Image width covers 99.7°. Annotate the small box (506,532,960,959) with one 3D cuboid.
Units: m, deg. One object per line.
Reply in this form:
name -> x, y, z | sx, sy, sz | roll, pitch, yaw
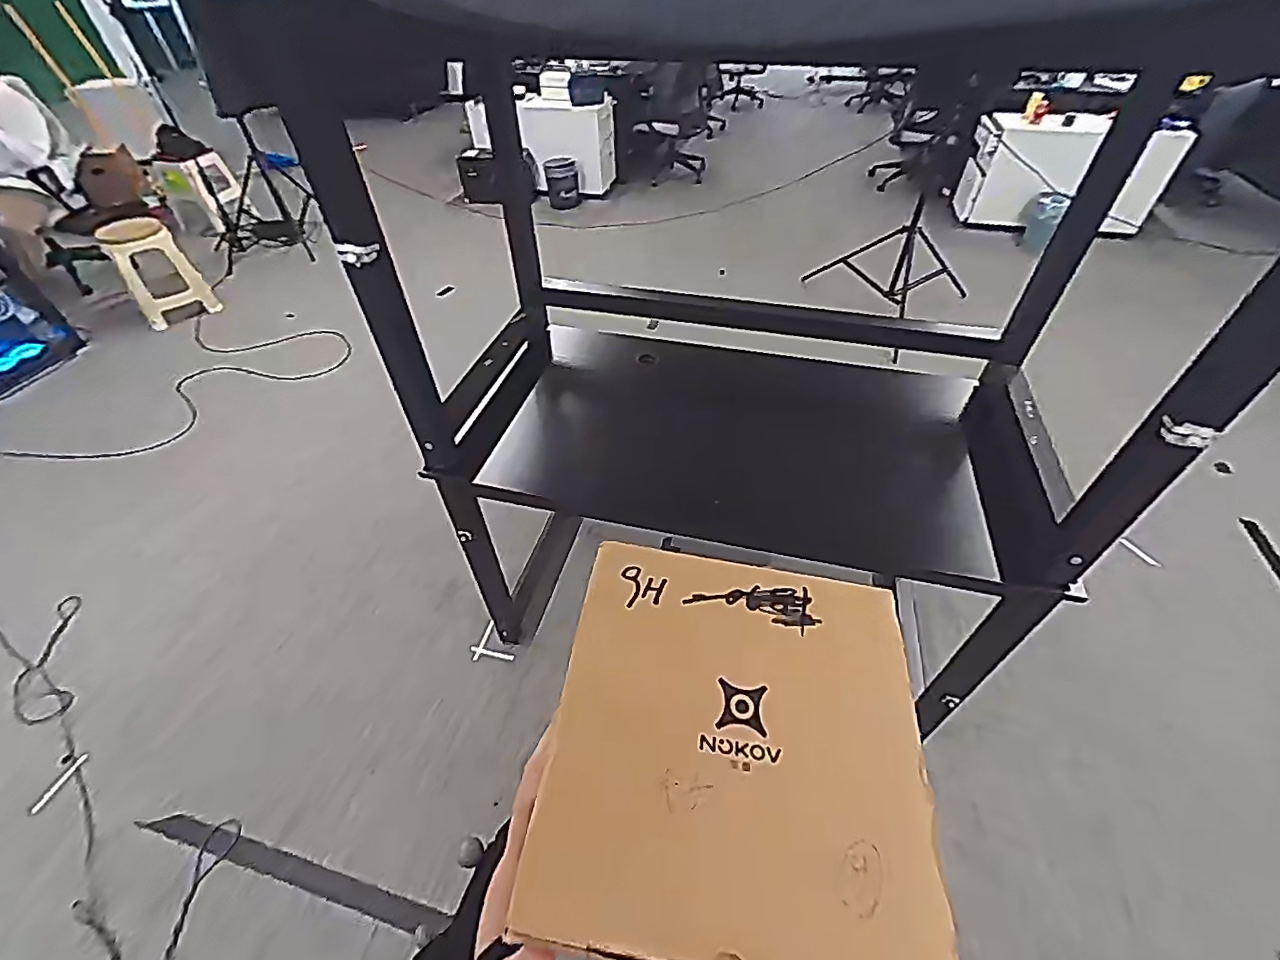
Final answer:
small box -> 0.040, 0.158, 0.301 | 0.168, 0.176, 0.179 | 10, 50, 2
